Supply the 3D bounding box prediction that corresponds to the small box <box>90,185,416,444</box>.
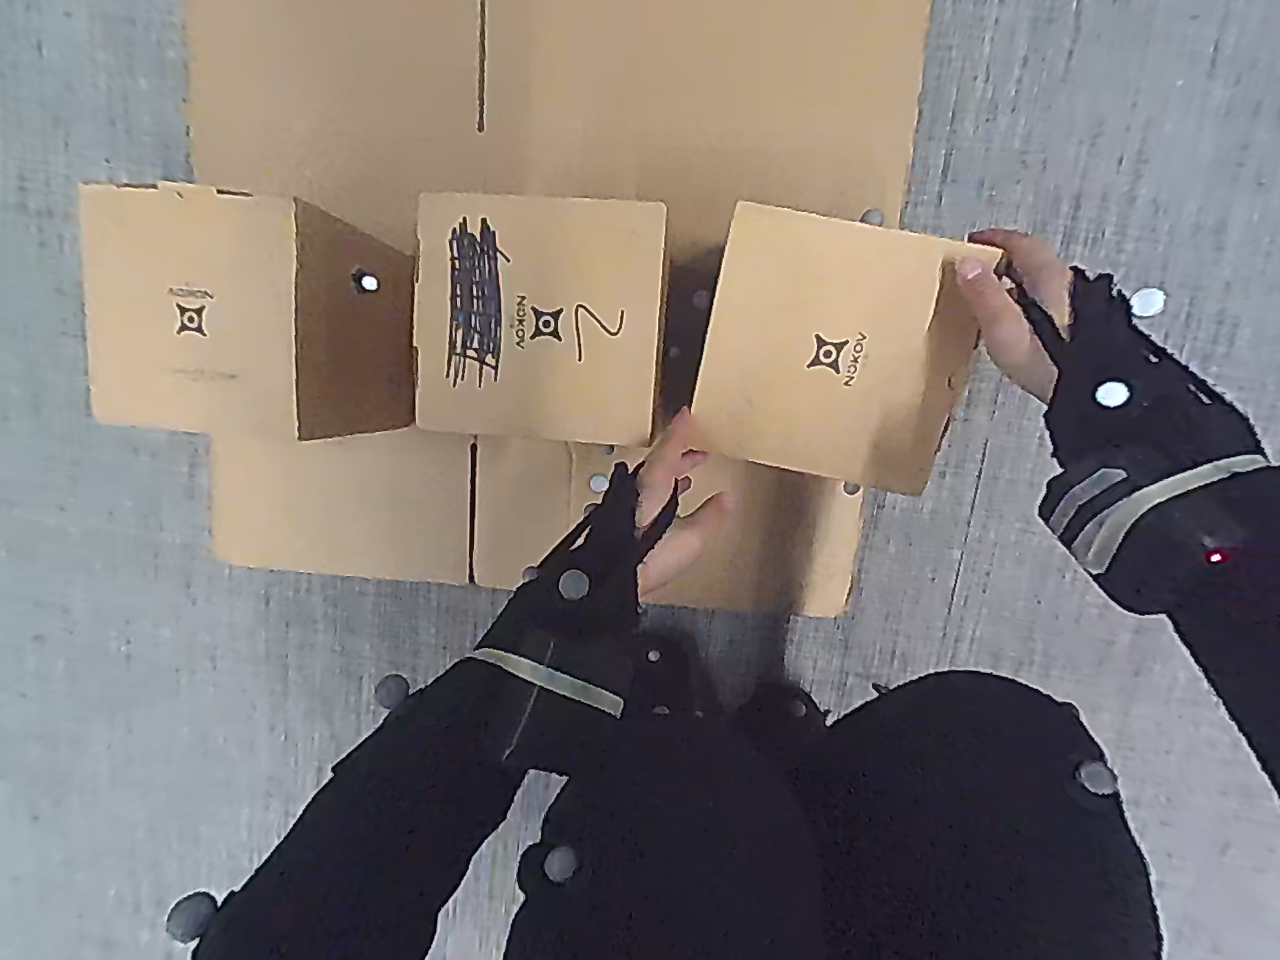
[{"bbox_3d":[-0.315,-0.132,0.476,0.168,0.176,0.179,5,100,4],"label":"small box"}]
